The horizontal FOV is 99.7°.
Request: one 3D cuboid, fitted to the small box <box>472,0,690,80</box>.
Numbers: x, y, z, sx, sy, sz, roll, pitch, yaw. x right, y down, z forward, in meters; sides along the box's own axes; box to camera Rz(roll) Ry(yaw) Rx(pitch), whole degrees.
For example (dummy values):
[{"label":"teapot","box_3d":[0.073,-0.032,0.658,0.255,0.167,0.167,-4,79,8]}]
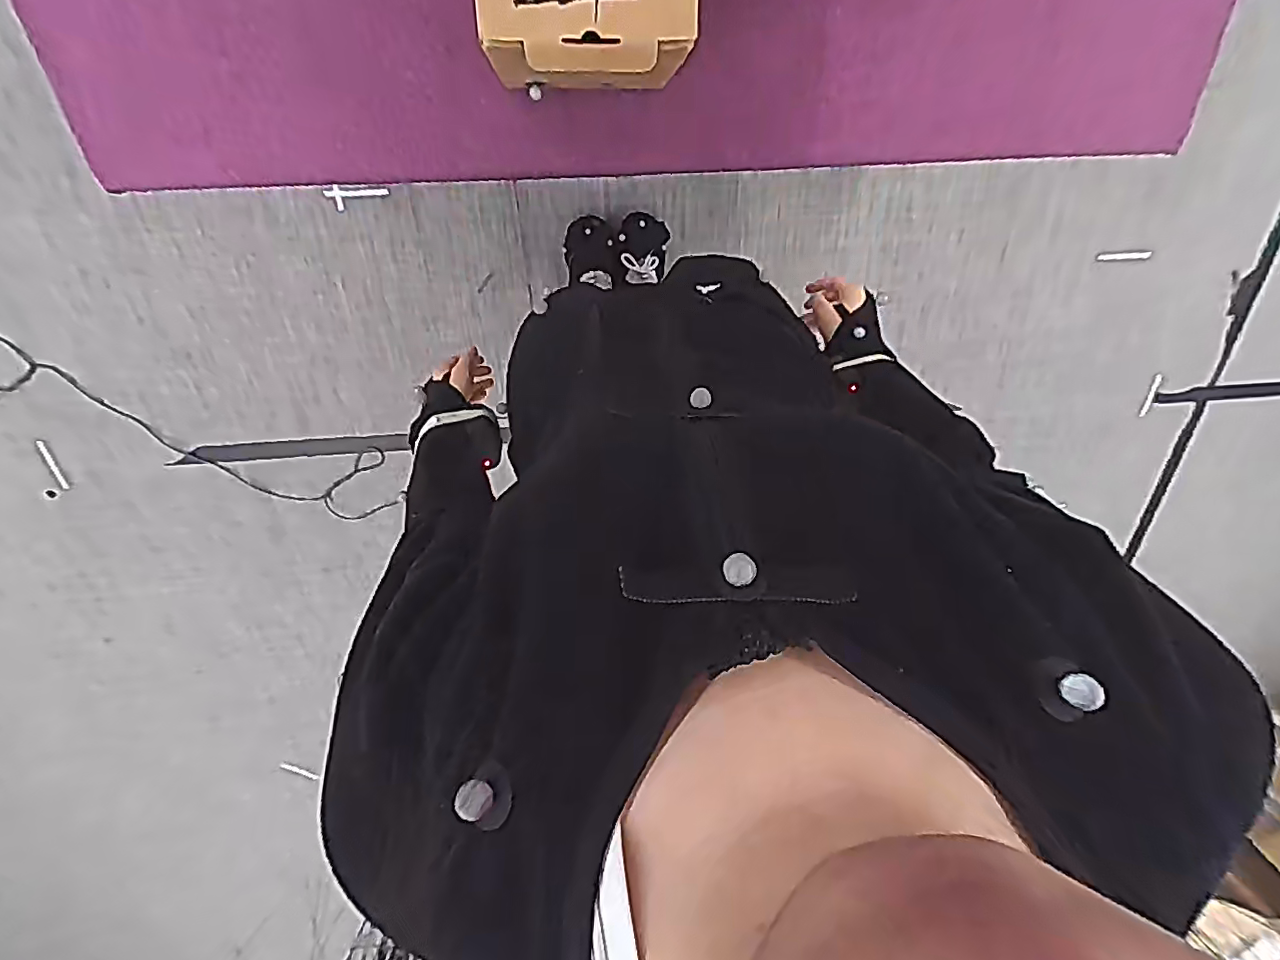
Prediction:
[{"label":"small box","box_3d":[-0.050,-0.448,0.443,0.168,0.176,0.179,-4,116,-5]}]
